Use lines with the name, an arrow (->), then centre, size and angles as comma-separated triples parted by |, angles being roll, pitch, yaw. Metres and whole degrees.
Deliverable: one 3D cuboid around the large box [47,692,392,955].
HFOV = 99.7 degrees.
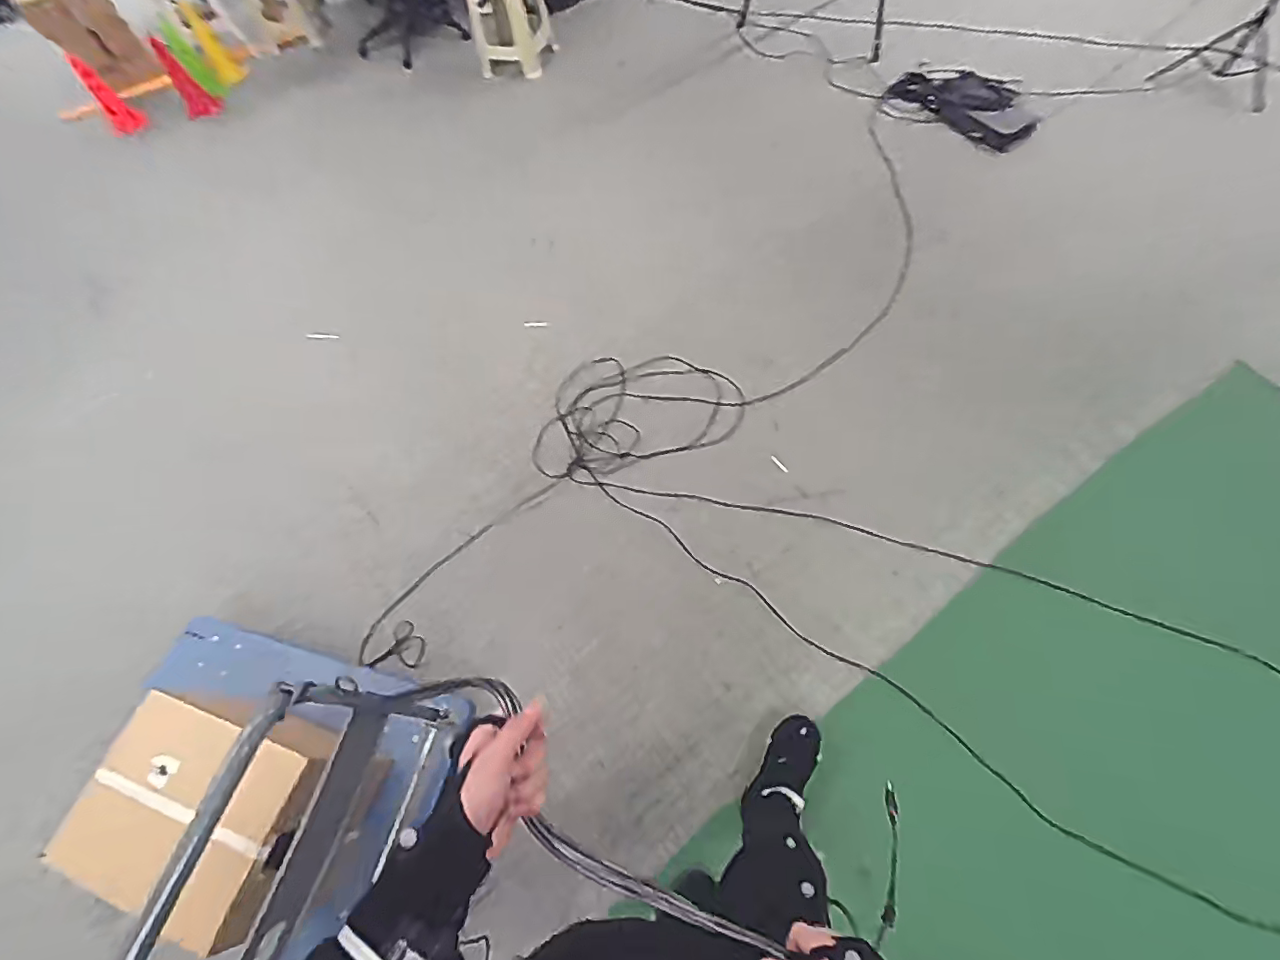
large box -> -0.821, 0.669, 1.119 | 0.408, 0.320, 0.320 | 14, 65, 14
